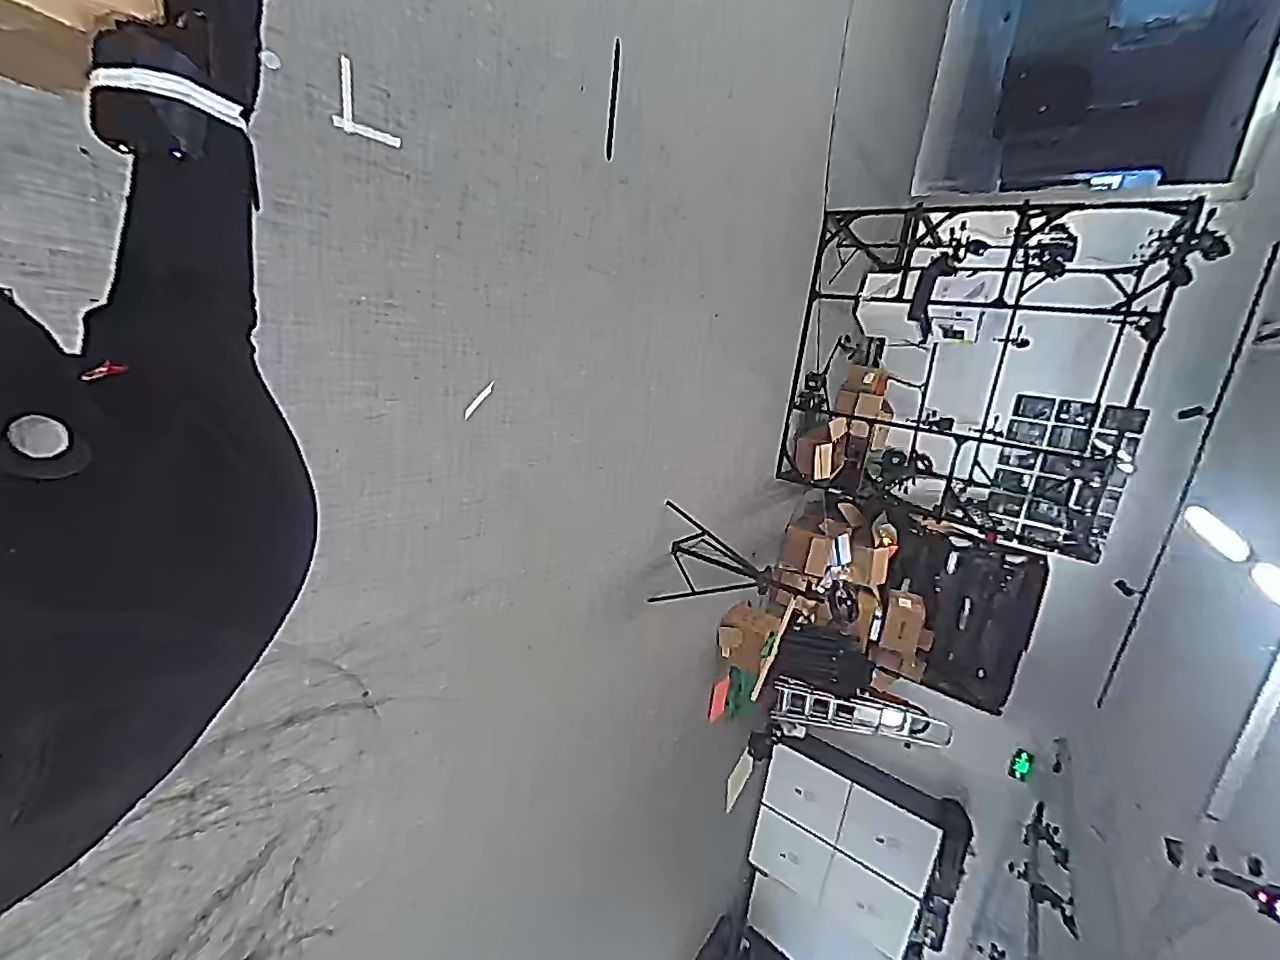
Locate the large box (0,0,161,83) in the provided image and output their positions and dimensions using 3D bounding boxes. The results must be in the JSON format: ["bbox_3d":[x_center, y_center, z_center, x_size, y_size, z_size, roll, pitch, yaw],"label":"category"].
[{"bbox_3d":[-0.534,-0.470,0.257,0.408,0.320,0.320,-5,113,-56],"label":"large box"}]
